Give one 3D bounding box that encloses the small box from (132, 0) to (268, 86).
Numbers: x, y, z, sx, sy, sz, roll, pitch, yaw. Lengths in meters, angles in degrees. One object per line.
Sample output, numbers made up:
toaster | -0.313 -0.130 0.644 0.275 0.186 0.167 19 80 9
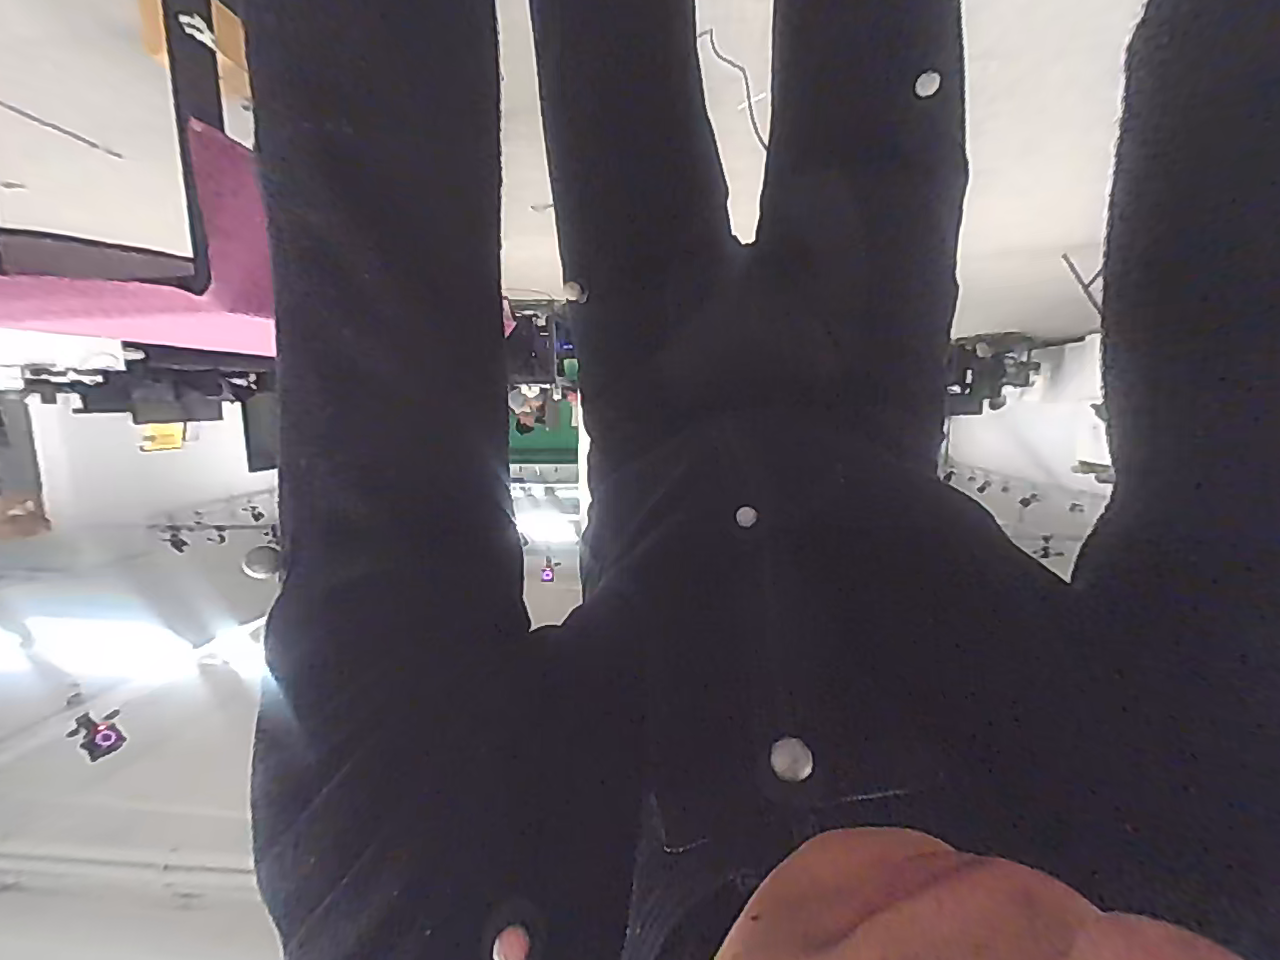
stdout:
small box | -0.967 -1.009 1.186 0.168 0.176 0.179 0 -170 5
